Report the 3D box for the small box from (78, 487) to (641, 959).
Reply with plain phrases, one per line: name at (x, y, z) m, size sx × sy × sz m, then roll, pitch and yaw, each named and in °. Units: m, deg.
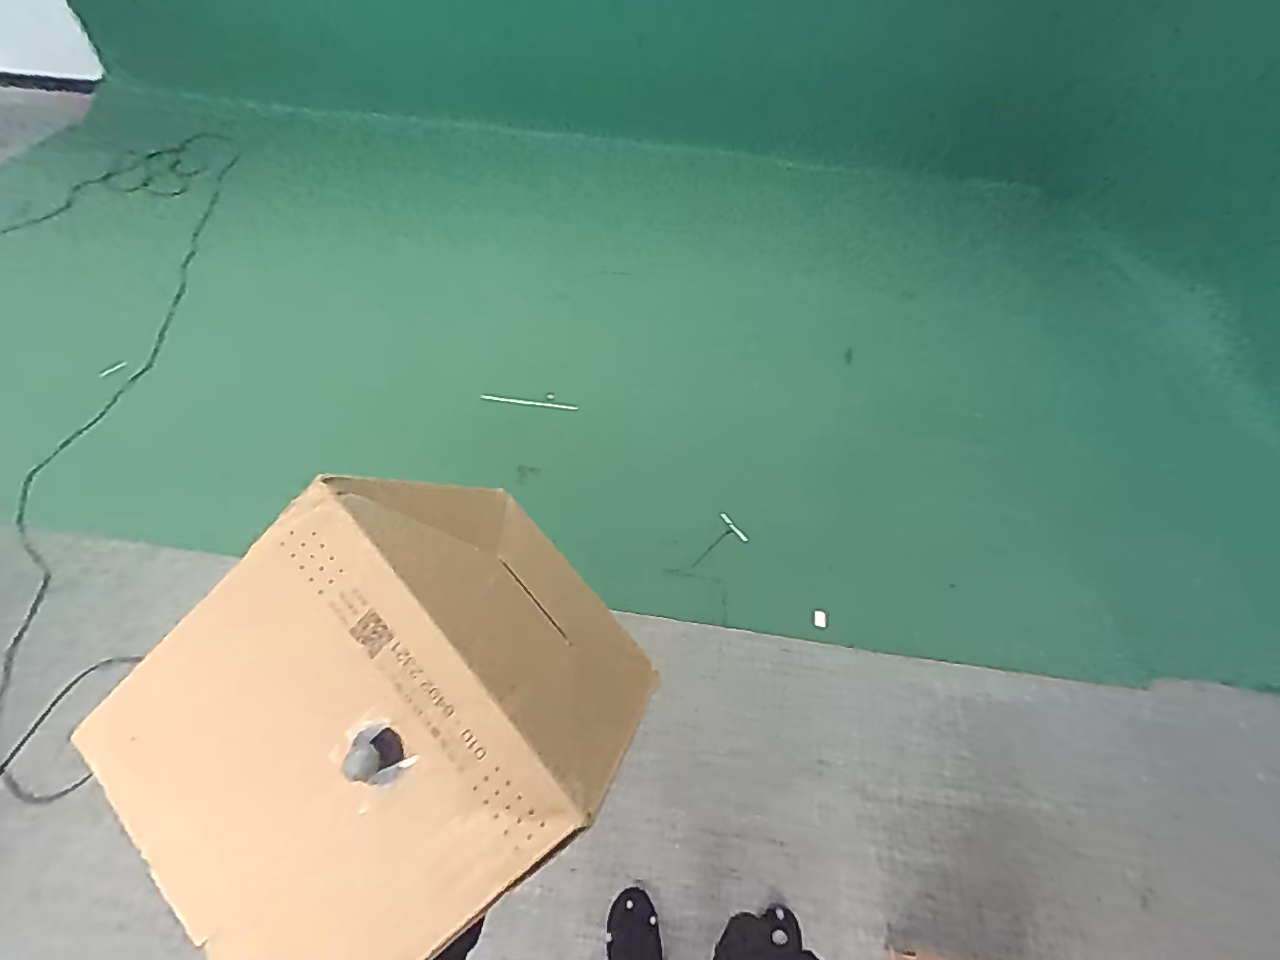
small box at (-0.117, 0.118, 0.298) m, size 0.176 × 0.179 × 0.168 m, roll -44°, pitch 81°, yaw 4°
